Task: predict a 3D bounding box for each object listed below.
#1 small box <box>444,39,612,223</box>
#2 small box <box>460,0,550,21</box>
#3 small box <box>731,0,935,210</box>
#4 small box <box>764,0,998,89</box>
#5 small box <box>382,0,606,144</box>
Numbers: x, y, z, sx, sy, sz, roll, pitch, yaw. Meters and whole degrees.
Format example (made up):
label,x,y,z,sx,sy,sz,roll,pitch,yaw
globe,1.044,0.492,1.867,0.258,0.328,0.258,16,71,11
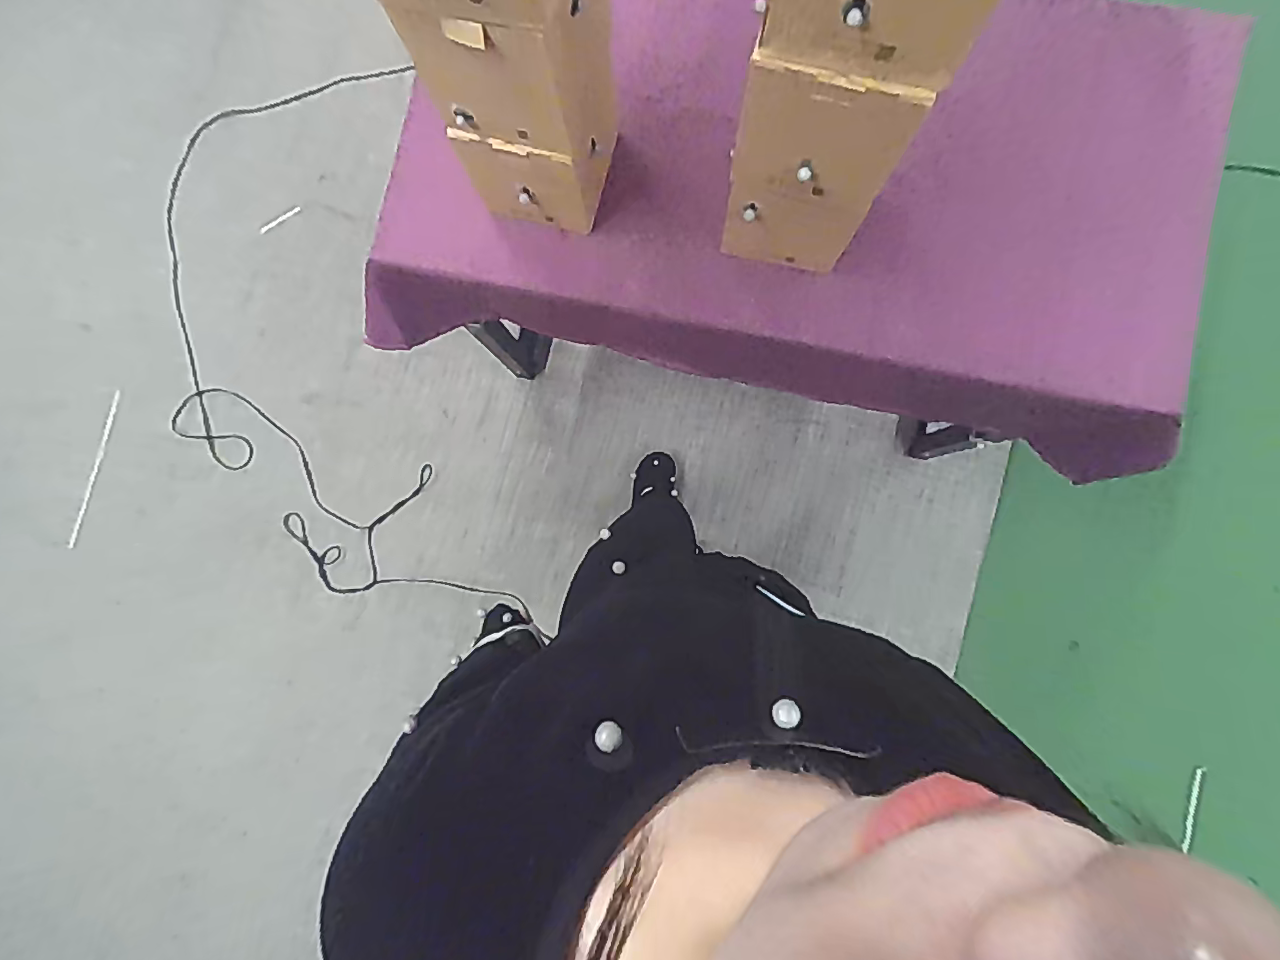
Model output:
label,x,y,z,sx,sy,sz,roll,pitch,yaw
small box,-0.139,-0.486,0.740,0.168,0.176,0.179,15,87,2
small box,-0.144,-0.511,0.413,0.168,0.176,0.179,14,86,2
small box,0.202,-0.423,0.560,0.168,0.176,0.179,17,87,3
small box,0.201,-0.445,0.398,0.168,0.176,0.179,15,87,3
small box,-0.139,-0.504,0.576,0.168,0.176,0.179,16,86,2
